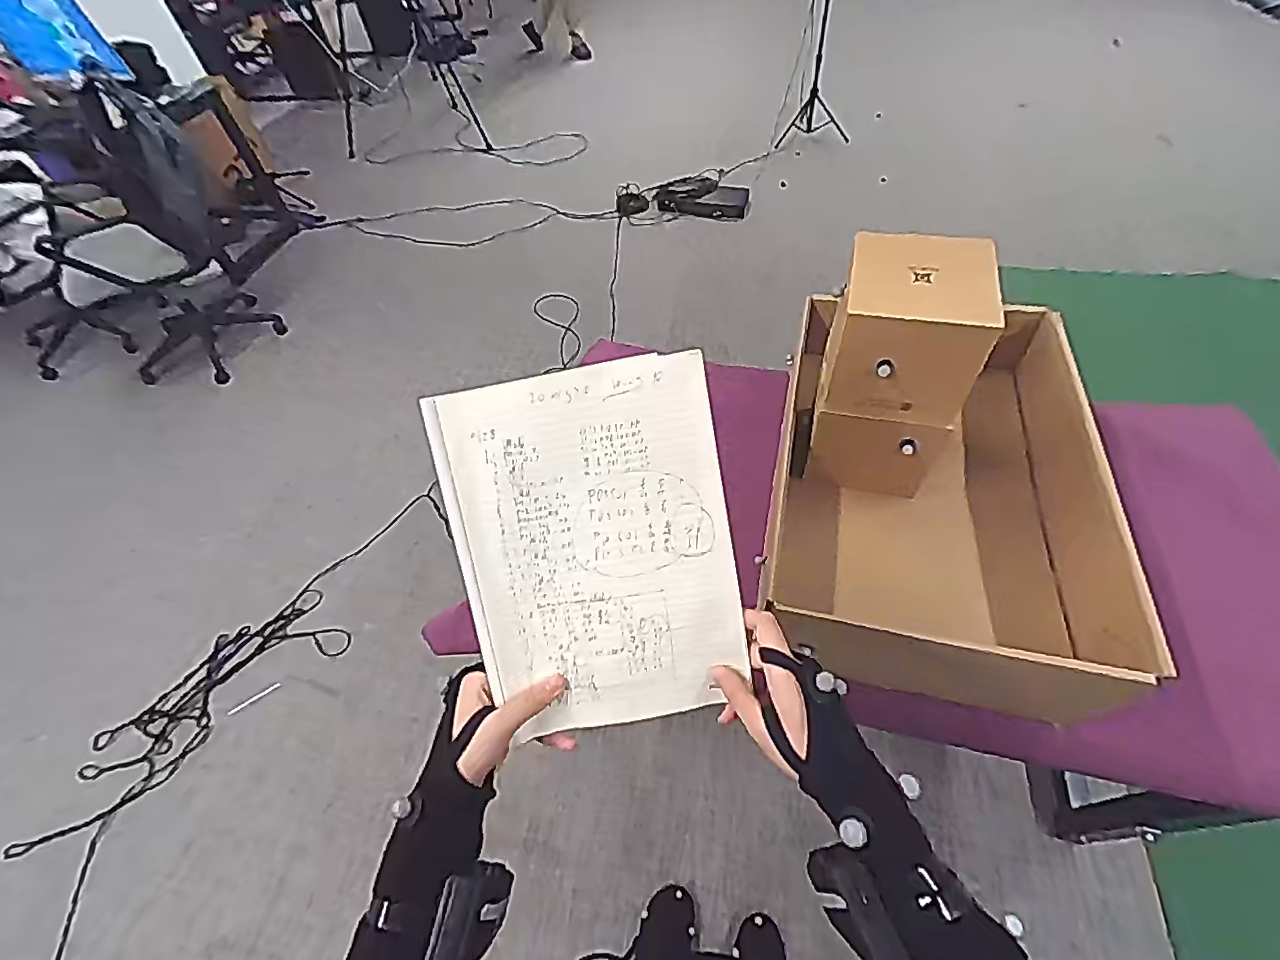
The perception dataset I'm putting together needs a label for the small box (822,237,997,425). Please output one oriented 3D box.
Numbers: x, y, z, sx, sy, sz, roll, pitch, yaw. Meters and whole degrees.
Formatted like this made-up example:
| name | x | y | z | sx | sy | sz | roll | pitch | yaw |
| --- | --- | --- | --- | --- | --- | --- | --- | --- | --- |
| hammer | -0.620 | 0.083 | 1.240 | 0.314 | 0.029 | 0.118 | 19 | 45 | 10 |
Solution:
| name | x | y | z | sx | sy | sz | roll | pitch | yaw |
| --- | --- | --- | --- | --- | --- | --- | --- | --- | --- |
| small box | 0.343 | -0.195 | 0.717 | 0.168 | 0.176 | 0.179 | 10 | 55 | 14 |
